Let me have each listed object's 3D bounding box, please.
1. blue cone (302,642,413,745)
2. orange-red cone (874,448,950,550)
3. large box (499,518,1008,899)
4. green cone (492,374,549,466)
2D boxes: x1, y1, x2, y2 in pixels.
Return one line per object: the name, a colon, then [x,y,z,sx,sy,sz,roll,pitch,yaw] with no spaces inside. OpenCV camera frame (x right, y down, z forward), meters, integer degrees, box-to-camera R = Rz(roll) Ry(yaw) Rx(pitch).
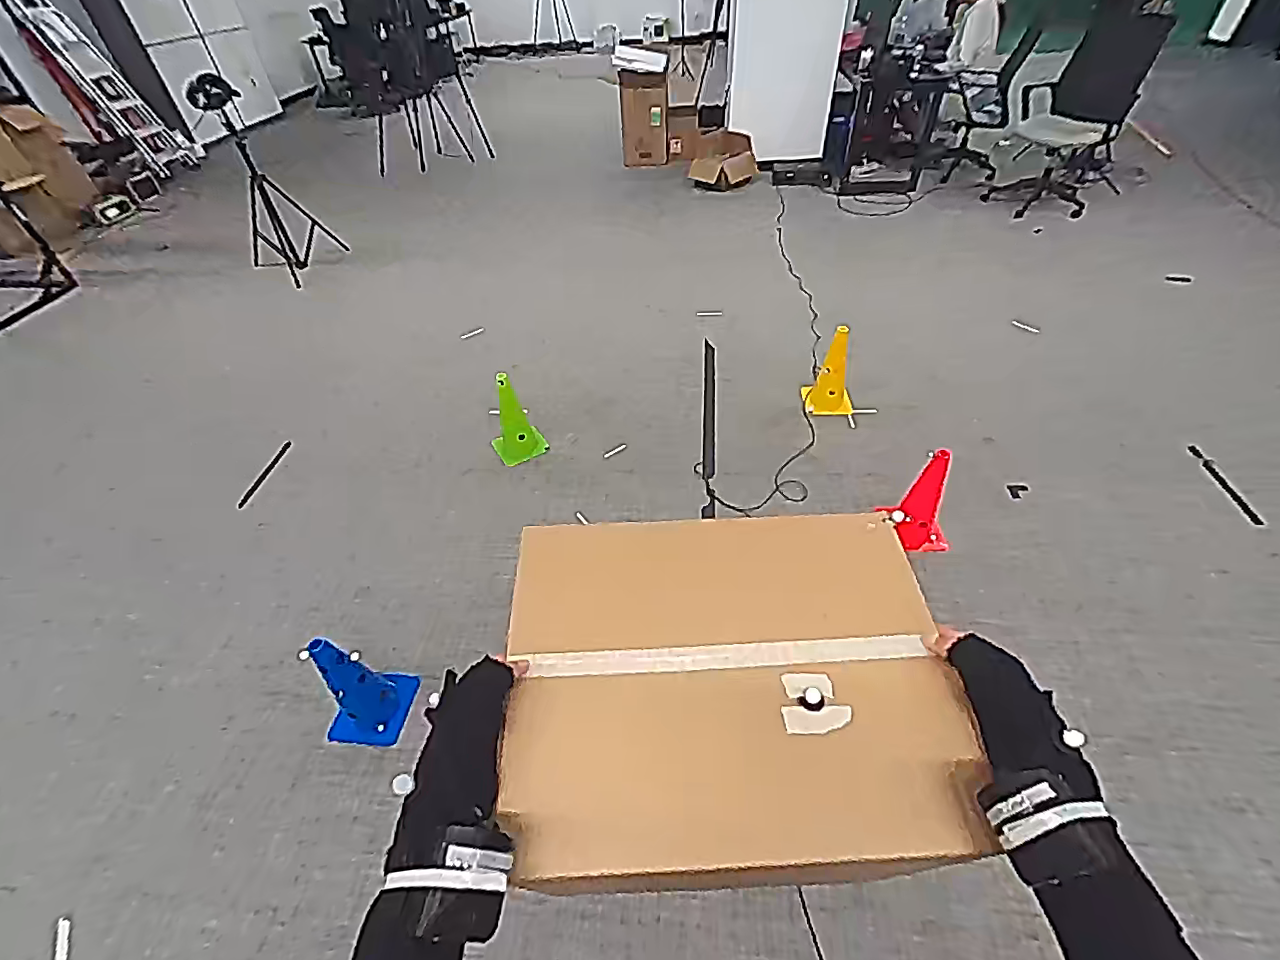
blue cone: [-0.763,0.532,1.413,0.192,0.380,0.193,2,45,8]
orange-red cone: [0.923,0.039,1.755,0.198,0.360,0.199,0,43,3]
large box: [0.080,0.264,0.618,0.408,0.320,0.320,-2,51,-2]
green cone: [-0.523,-0.269,2.176,0.202,0.368,0.200,-28,48,-20]
